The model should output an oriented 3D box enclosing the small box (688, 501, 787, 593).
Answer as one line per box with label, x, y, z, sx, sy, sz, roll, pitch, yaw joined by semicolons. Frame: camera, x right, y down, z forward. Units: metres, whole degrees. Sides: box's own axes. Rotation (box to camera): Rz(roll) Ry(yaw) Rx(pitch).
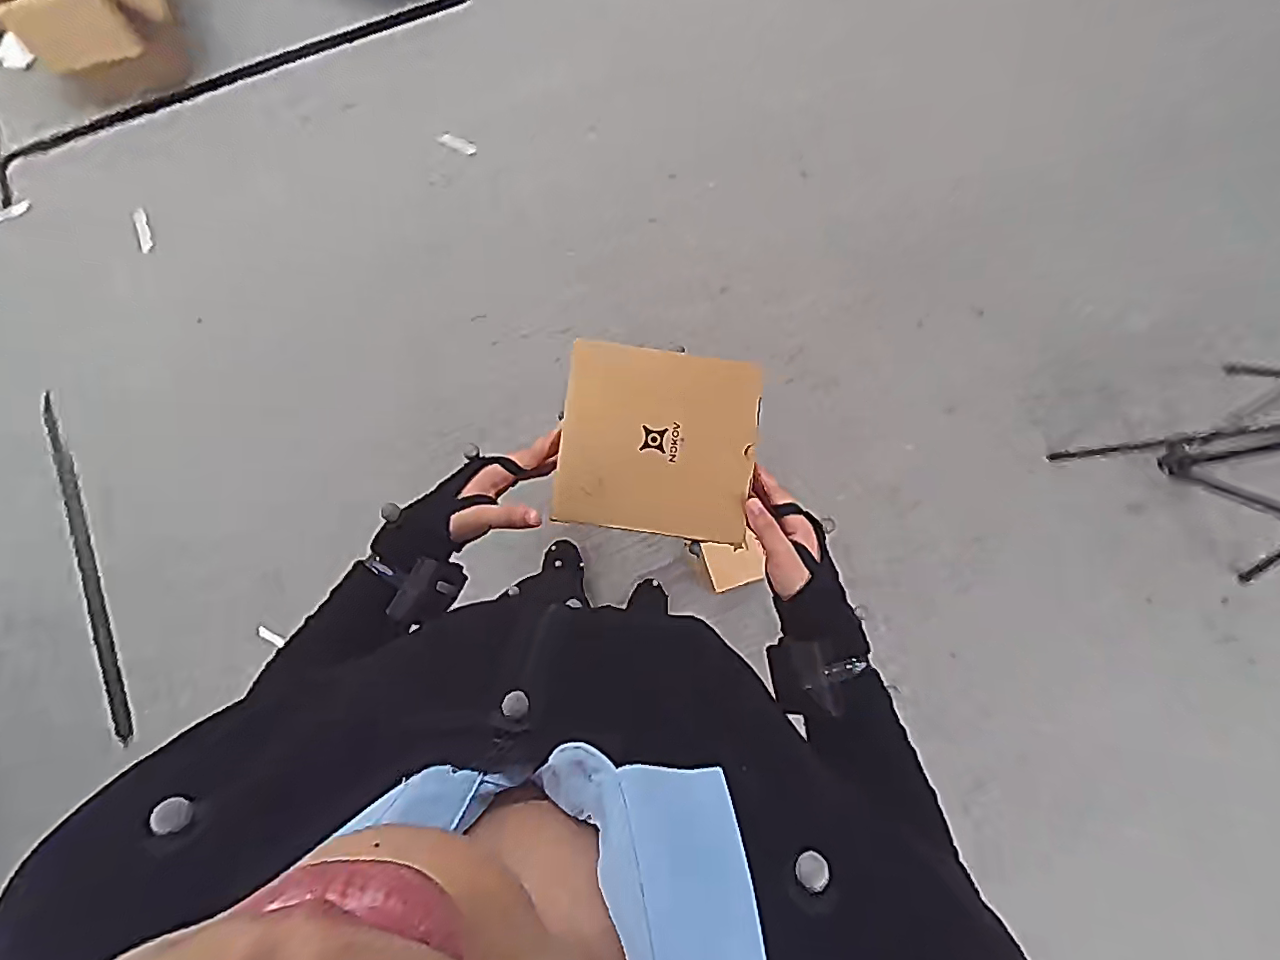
small box;0.217;0.160;1.267;0.179;0.176;0.168;-17;81;-3
